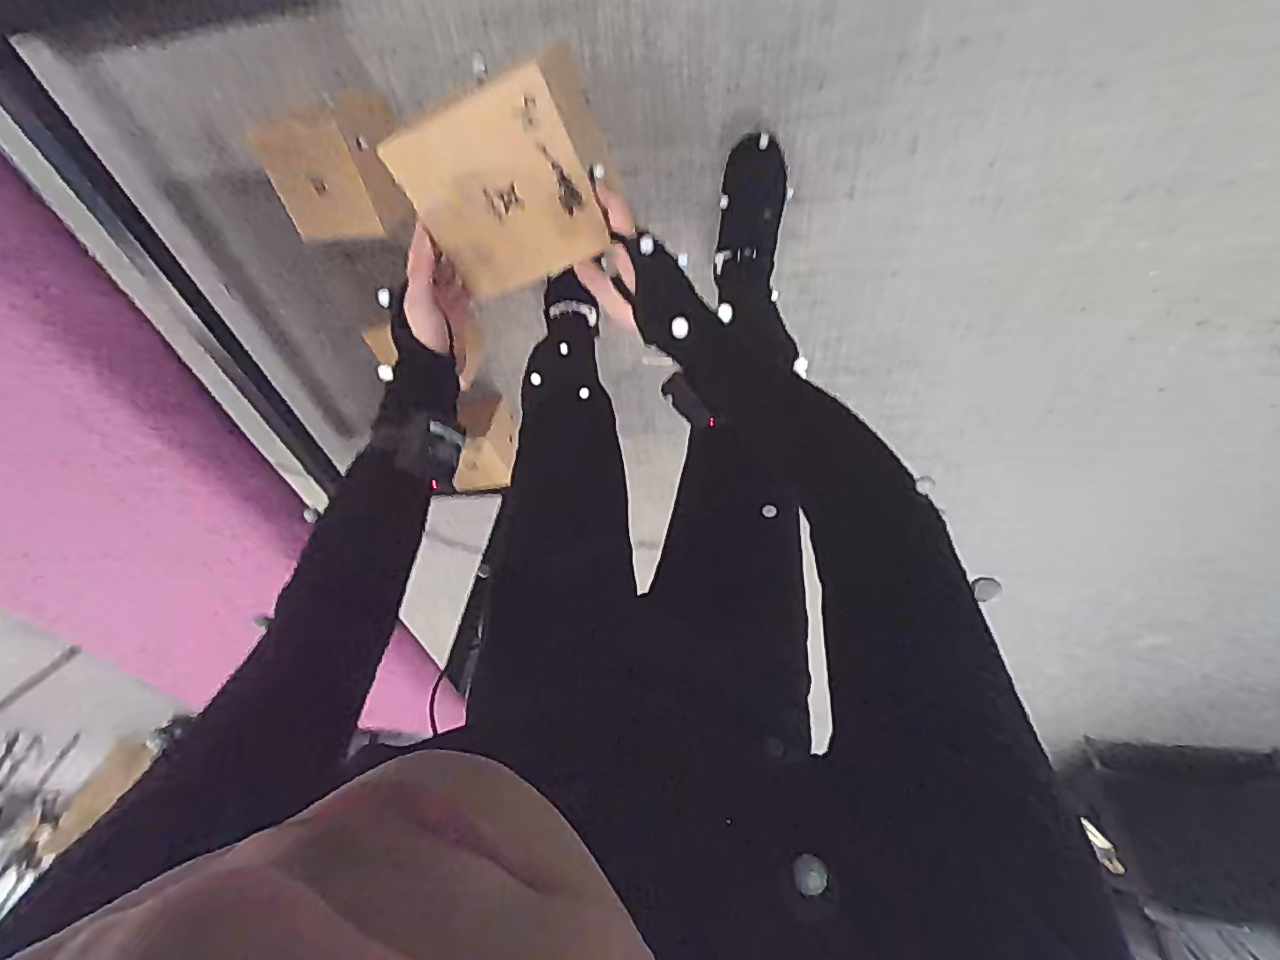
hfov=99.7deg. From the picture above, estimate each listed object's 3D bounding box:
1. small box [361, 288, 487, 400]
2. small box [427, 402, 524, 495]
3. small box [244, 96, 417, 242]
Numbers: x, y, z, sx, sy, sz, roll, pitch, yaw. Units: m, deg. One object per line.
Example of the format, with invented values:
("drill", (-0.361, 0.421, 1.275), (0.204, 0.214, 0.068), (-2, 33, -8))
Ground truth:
("small box", (-0.463, -0.304, 1.189), (0.168, 0.176, 0.179), (-5, 136, 14))
("small box", (-0.417, -0.085, 1.414), (0.179, 0.176, 0.168), (-7, 135, 15))
("small box", (-0.521, -0.540, 0.944), (0.168, 0.176, 0.179), (-1, 136, 8))
